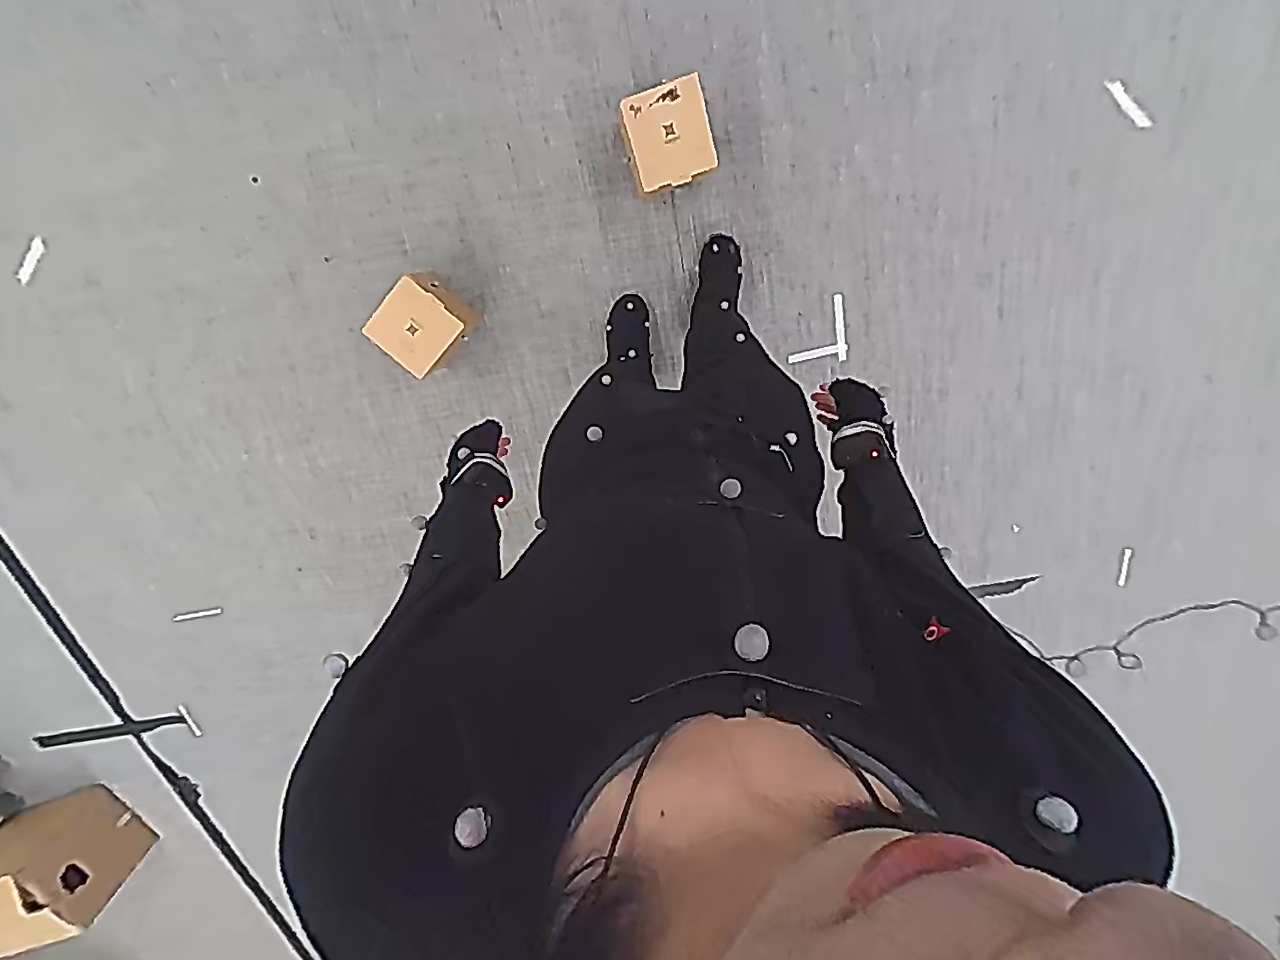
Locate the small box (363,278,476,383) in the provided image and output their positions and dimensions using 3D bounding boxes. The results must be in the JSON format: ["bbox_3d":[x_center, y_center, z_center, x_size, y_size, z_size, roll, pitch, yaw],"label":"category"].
[{"bbox_3d":[-0.515,-0.364,1.294,0.168,0.176,0.179,41,105,-15],"label":"small box"}]

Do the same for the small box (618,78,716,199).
[{"bbox_3d":[0.056,-0.727,1.174,0.168,0.176,0.179,-17,113,4],"label":"small box"}]
